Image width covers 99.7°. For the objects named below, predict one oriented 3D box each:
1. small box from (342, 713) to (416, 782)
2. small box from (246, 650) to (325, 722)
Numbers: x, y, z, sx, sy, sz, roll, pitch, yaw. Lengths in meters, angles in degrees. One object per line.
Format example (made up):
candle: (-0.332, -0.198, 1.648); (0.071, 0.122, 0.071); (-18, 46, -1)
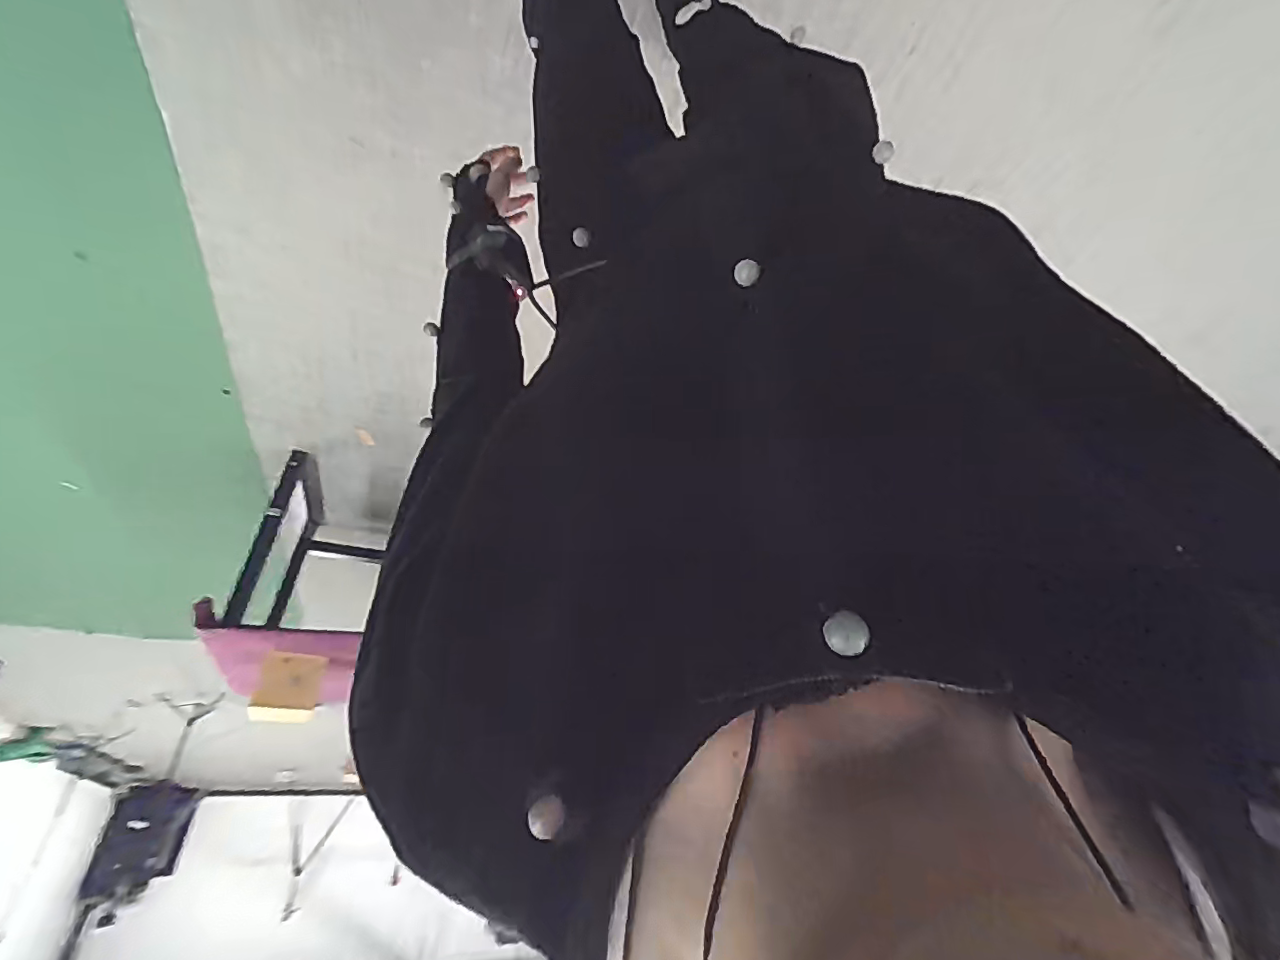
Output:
small box: (-0.794, 0.819, 1.654); (0.179, 0.176, 0.168); (12, 142, -21)
small box: (-1.081, 0.632, 1.656); (0.168, 0.176, 0.179); (16, 140, -25)
